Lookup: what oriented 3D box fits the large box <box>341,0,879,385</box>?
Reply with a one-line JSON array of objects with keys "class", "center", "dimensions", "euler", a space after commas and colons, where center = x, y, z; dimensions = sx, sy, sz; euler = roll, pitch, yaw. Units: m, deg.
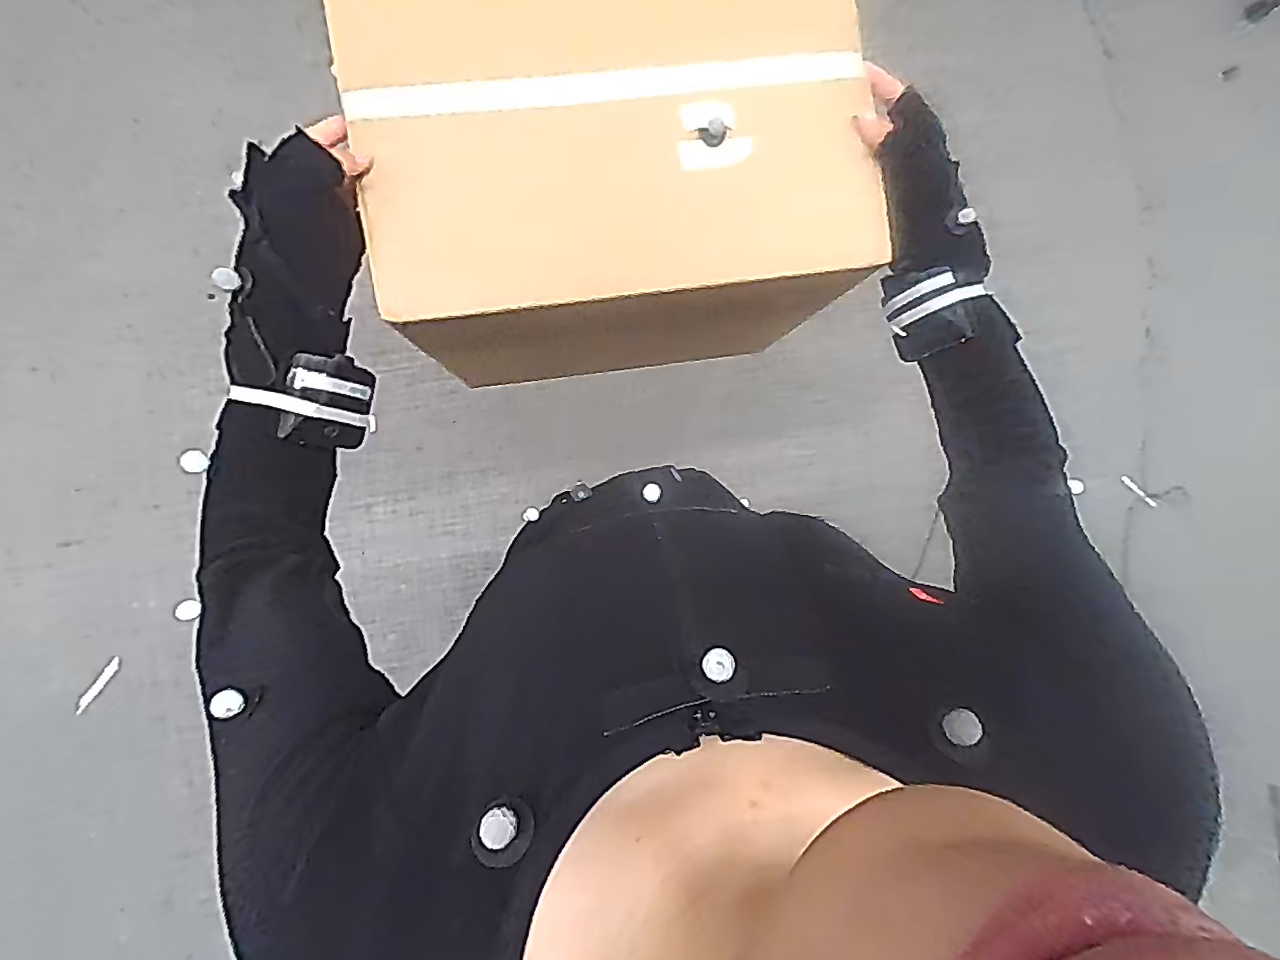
[{"class": "large box", "center": [-0.035, -0.307, 0.577], "dimensions": [0.408, 0.320, 0.320], "euler": [-9, 92, -7]}]
